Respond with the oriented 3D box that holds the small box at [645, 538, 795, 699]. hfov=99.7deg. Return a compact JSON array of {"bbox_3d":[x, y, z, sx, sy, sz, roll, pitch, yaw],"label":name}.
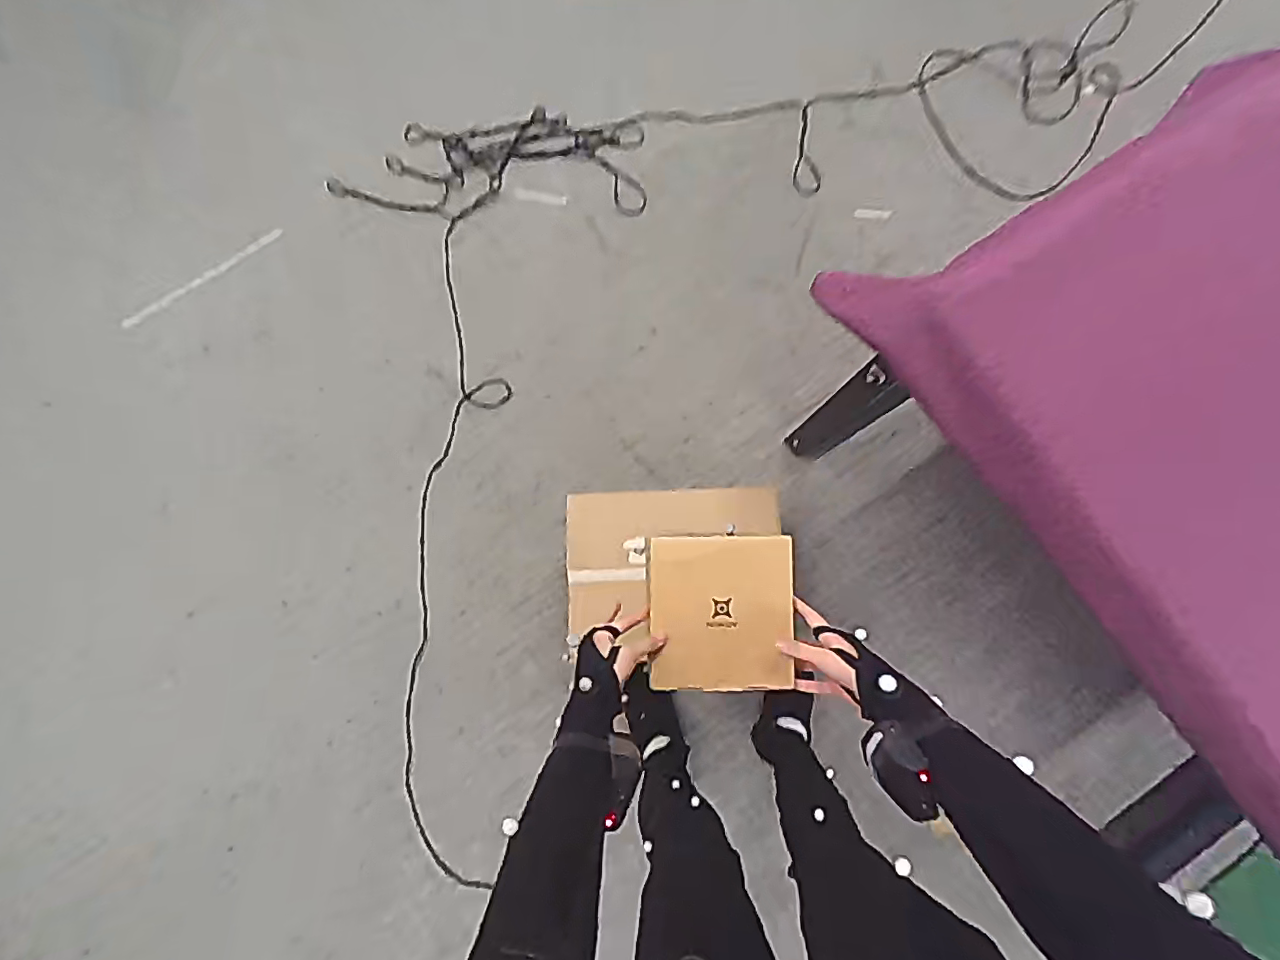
[{"bbox_3d":[0.091,0.164,0.693,0.168,0.176,0.179,-1,87,-1],"label":"small box"}]
